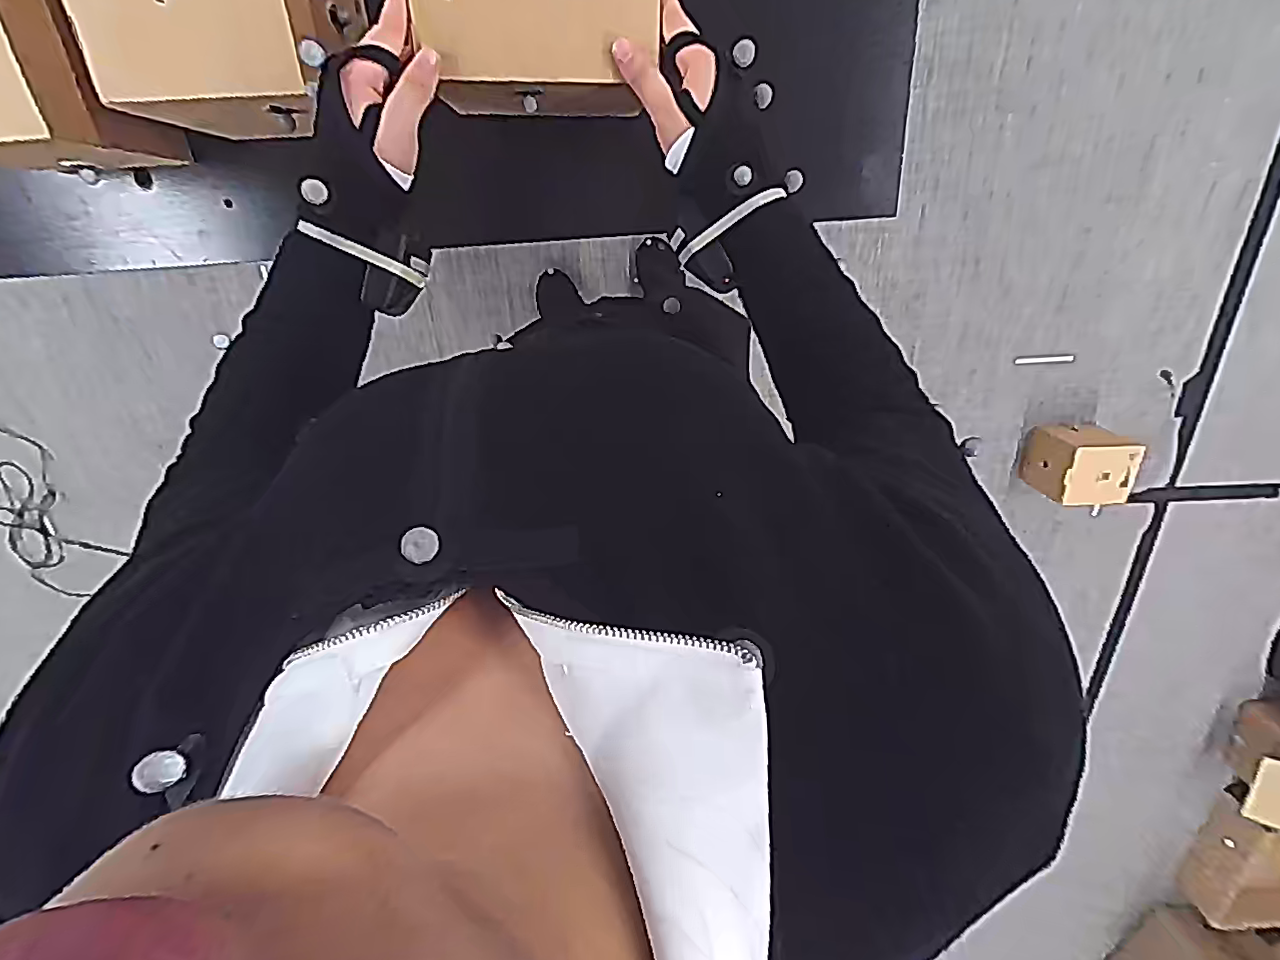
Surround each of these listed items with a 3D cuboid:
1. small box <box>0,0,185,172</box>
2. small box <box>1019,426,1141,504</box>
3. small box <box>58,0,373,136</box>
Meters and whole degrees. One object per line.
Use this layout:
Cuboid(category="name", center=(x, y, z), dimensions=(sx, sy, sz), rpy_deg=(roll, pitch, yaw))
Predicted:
Cuboid(category="small box", center=(-0.582, -0.394, 0.492), dimensions=(0.168, 0.176, 0.179), rpy_deg=(-3, 114, 2))
Cuboid(category="small box", center=(1.178, -0.043, 1.466), dimensions=(0.179, 0.176, 0.168), rpy_deg=(-1, 114, 0))
Cuboid(category="small box", center=(-0.364, -0.419, 0.483), dimensions=(0.179, 0.176, 0.168), rpy_deg=(-2, 113, 0))
